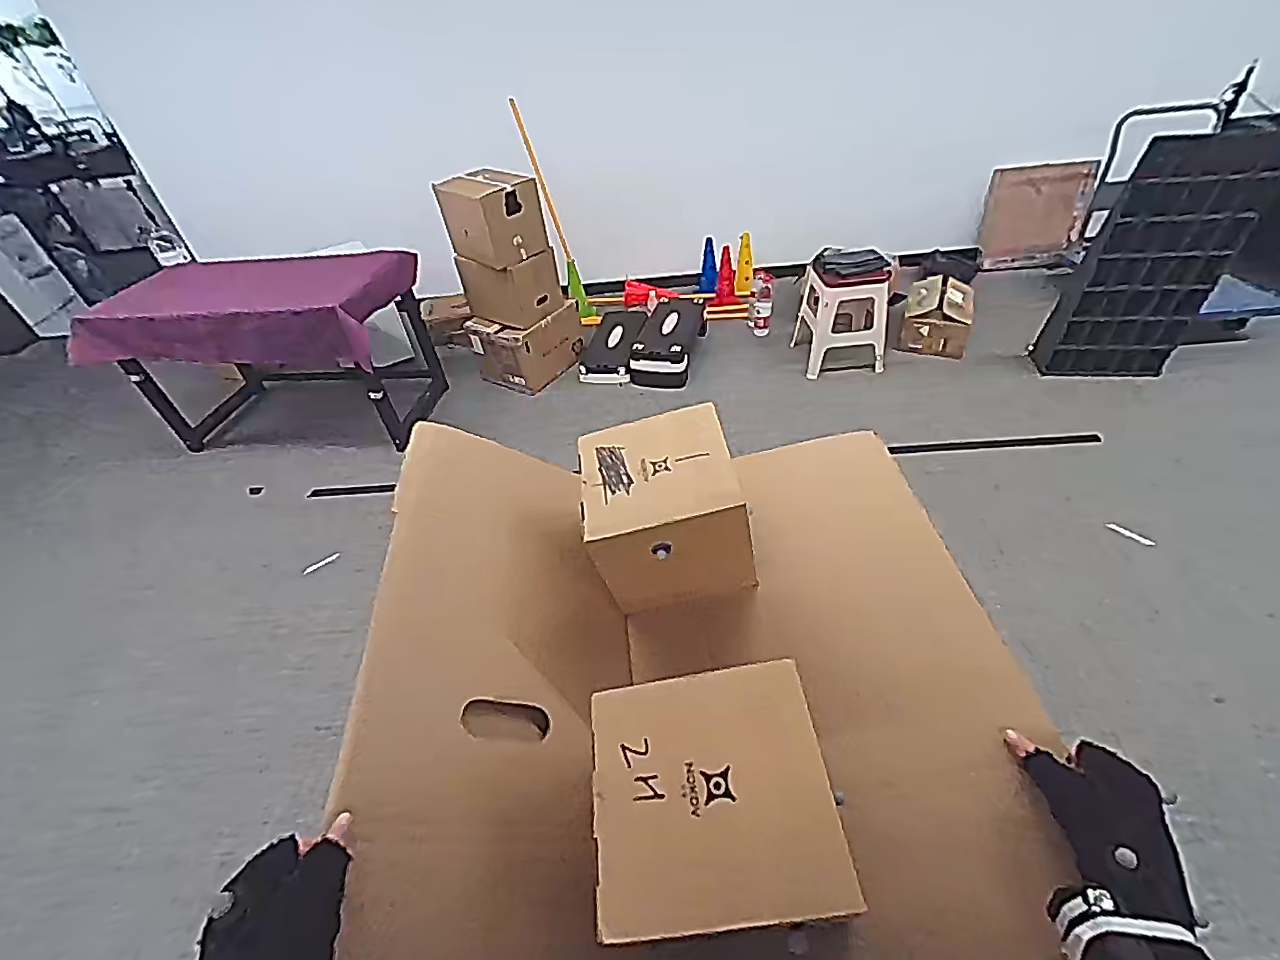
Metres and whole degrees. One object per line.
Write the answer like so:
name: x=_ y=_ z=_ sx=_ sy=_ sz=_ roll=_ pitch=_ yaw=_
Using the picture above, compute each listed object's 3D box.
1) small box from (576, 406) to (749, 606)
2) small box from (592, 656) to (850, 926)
small box: x=0.029 y=0.039 z=0.685 sx=0.179 sy=0.176 sz=0.168 roll=-14 pitch=48 yaw=5
small box: x=0.066 y=0.275 z=0.472 sx=0.179 sy=0.176 sz=0.168 roll=-13 pitch=48 yaw=7
